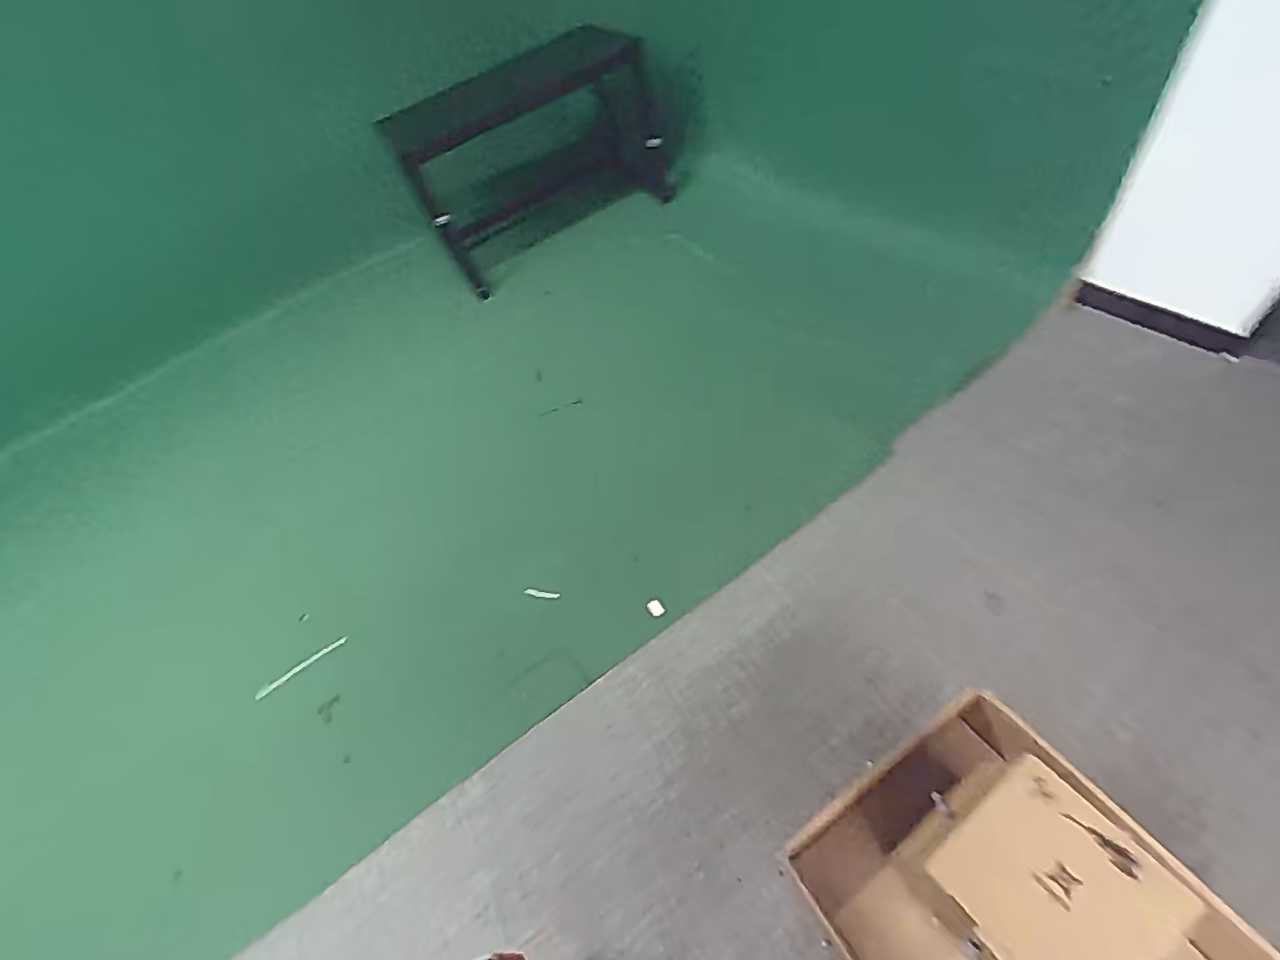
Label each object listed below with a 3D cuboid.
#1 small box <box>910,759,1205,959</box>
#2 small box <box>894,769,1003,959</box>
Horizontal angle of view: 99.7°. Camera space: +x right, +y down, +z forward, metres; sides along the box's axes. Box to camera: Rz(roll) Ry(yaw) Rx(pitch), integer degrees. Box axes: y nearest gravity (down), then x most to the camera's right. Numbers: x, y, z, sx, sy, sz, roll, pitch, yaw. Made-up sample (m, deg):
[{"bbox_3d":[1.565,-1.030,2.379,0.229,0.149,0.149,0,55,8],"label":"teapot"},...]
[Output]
[{"bbox_3d":[0.419,0.442,0.582,0.179,0.176,0.168,-36,53,-10],"label":"small box"},{"bbox_3d":[0.466,0.523,0.718,0.179,0.176,0.168,-36,52,-10],"label":"small box"}]
